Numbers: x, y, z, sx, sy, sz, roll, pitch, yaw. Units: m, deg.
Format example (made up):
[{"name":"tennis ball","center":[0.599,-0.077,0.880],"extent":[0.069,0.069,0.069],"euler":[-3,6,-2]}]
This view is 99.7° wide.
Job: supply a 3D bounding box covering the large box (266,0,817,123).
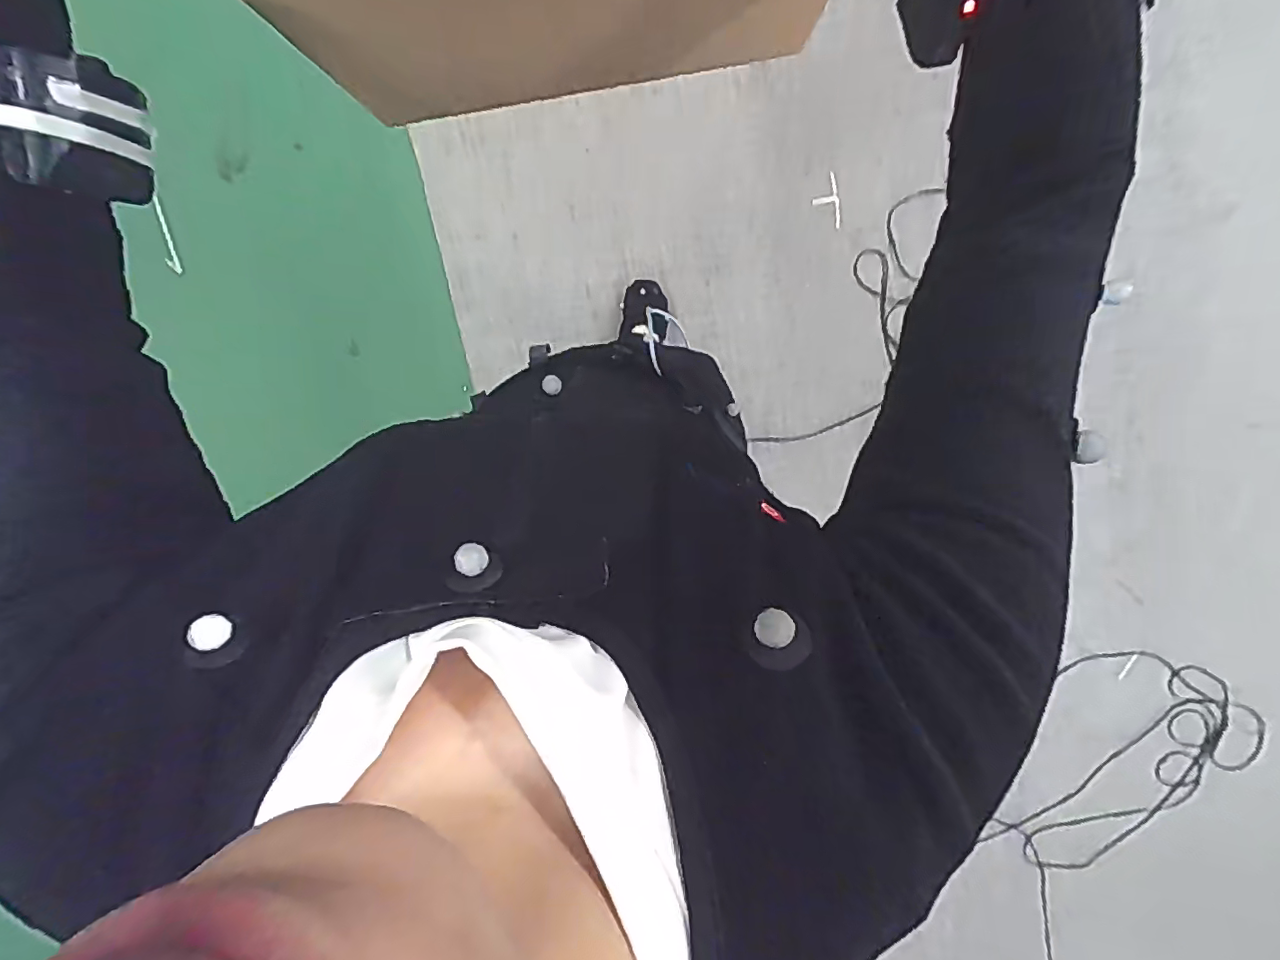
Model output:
[{"name":"large box","center":[-0.072,-0.487,0.338],"extent":[0.408,0.320,0.320],"euler":[-9,103,2]}]
